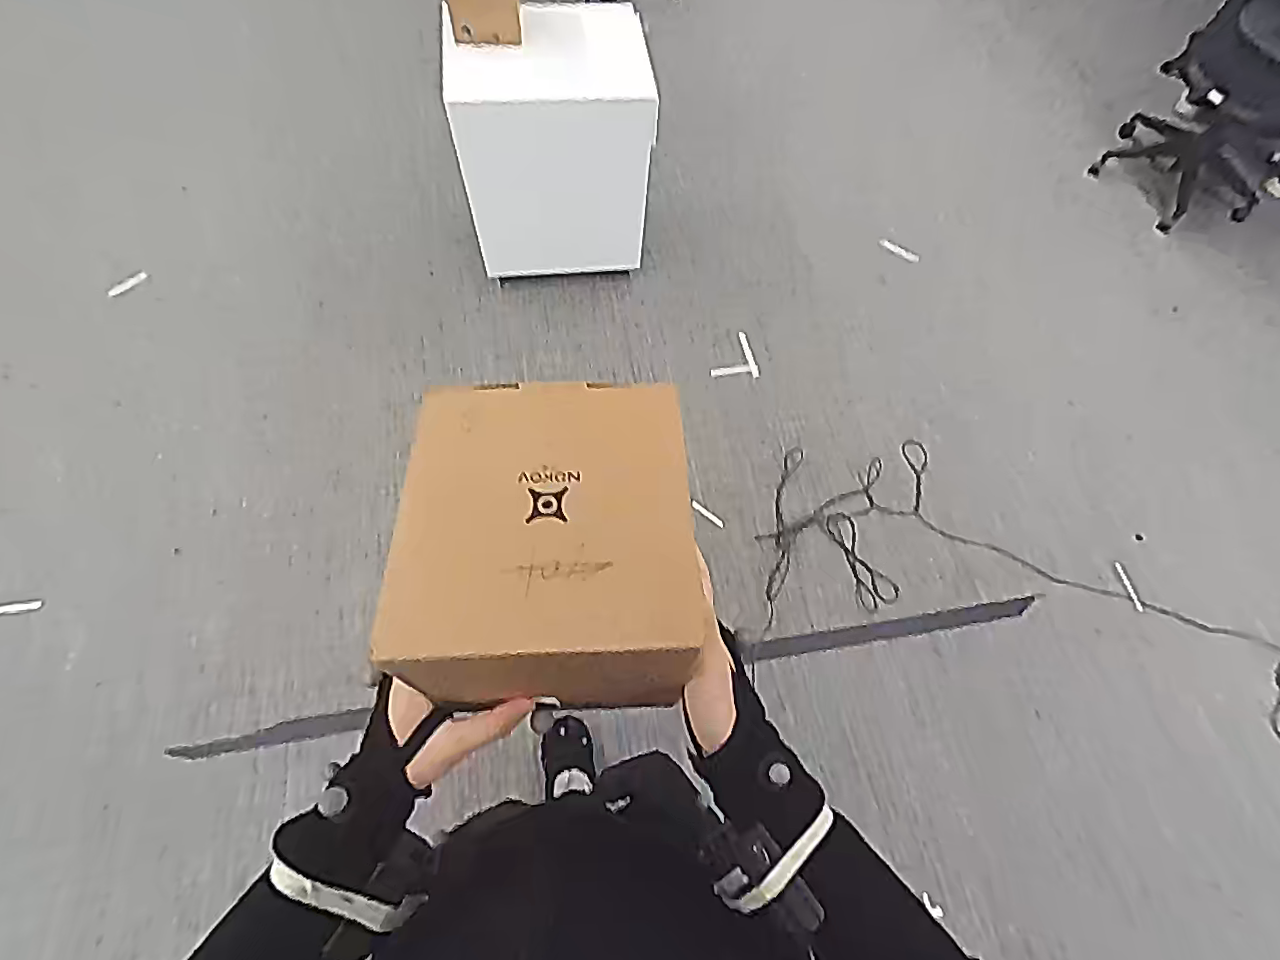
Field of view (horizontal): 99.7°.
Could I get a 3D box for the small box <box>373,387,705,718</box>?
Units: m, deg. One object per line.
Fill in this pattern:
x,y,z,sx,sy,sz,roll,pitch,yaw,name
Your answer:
-0.055,0.056,0.376,0.168,0.176,0.179,-1,58,-3,small box

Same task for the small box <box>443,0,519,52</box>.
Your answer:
-0.390,-1.188,1.323,0.168,0.176,0.179,-5,66,-7,small box
